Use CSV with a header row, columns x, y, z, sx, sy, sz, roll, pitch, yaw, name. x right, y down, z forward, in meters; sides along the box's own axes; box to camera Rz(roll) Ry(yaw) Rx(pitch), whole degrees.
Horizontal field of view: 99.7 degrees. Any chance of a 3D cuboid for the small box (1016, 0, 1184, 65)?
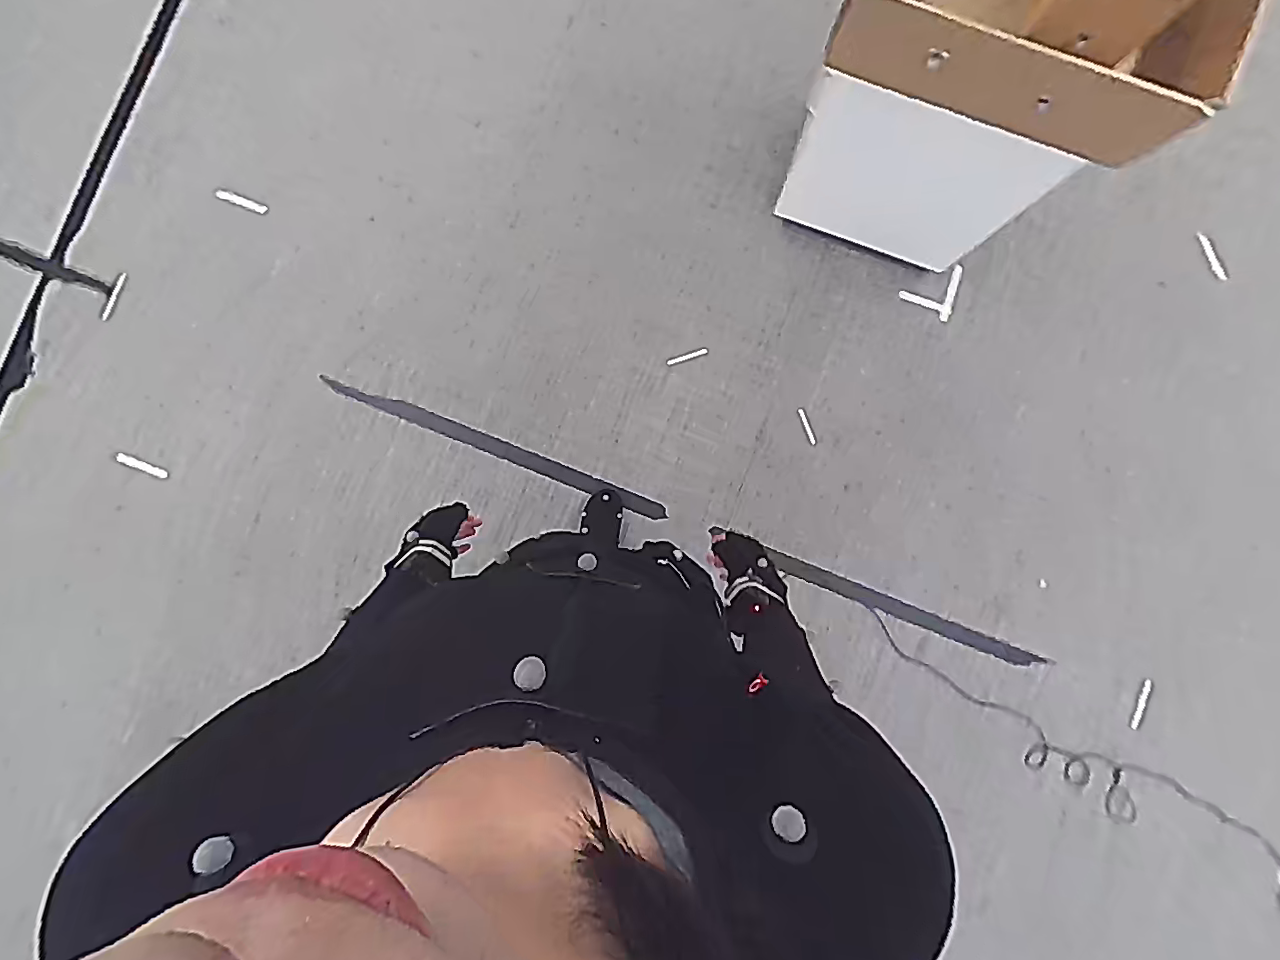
x,y,z,sx,sy,sz,roll,pitch,yaw,name
0.780,-0.838,0.892,0.179,0.176,0.168,20,92,2,small box
